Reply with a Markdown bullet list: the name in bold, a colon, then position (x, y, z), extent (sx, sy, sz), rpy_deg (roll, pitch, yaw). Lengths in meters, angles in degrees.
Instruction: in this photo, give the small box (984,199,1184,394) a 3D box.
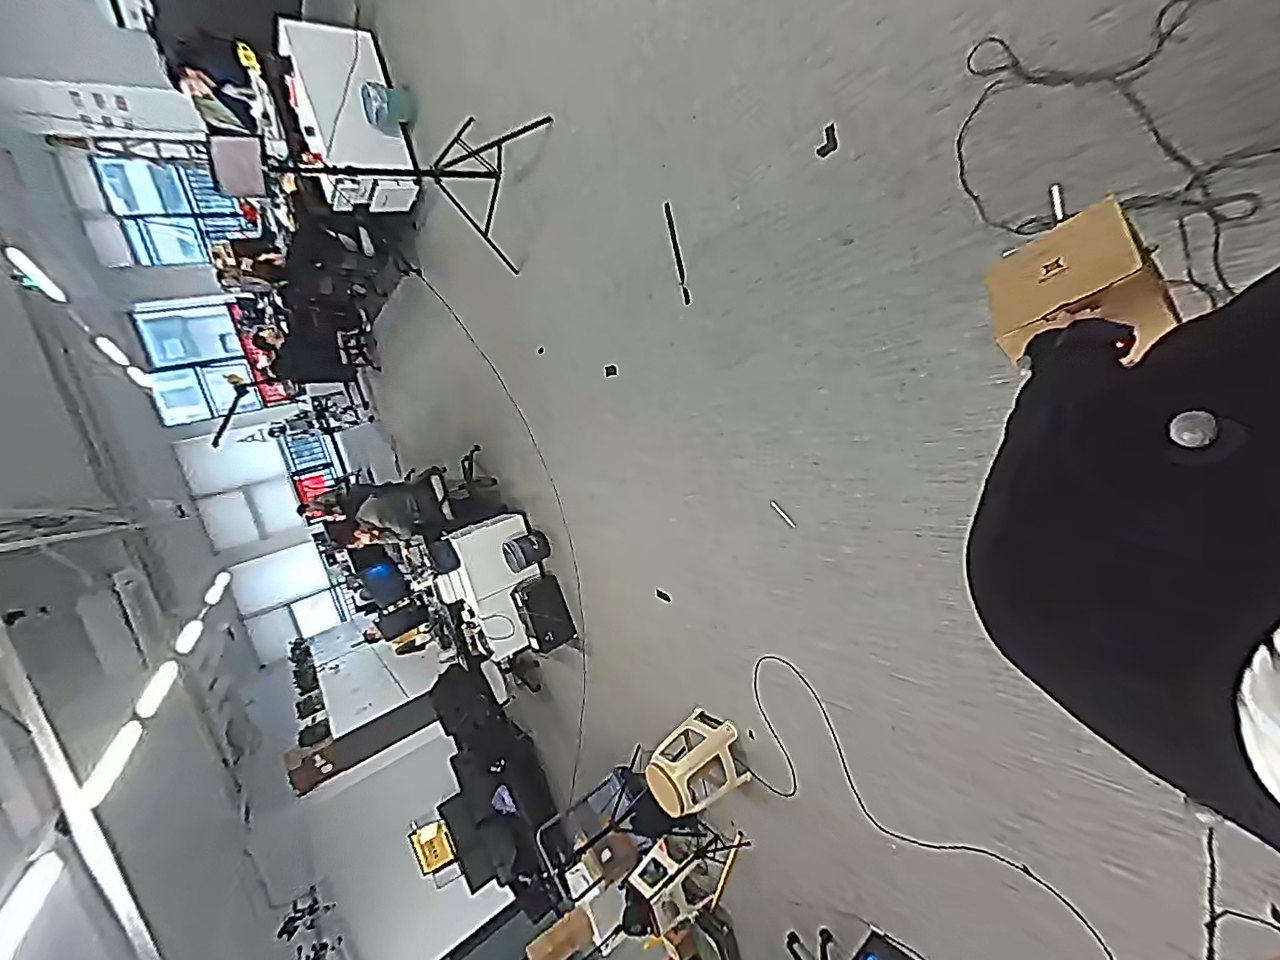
- **small box**: position (0.628, -0.248, 0.775), extent (0.176, 0.179, 0.168), rpy_deg (35, 144, -23)
